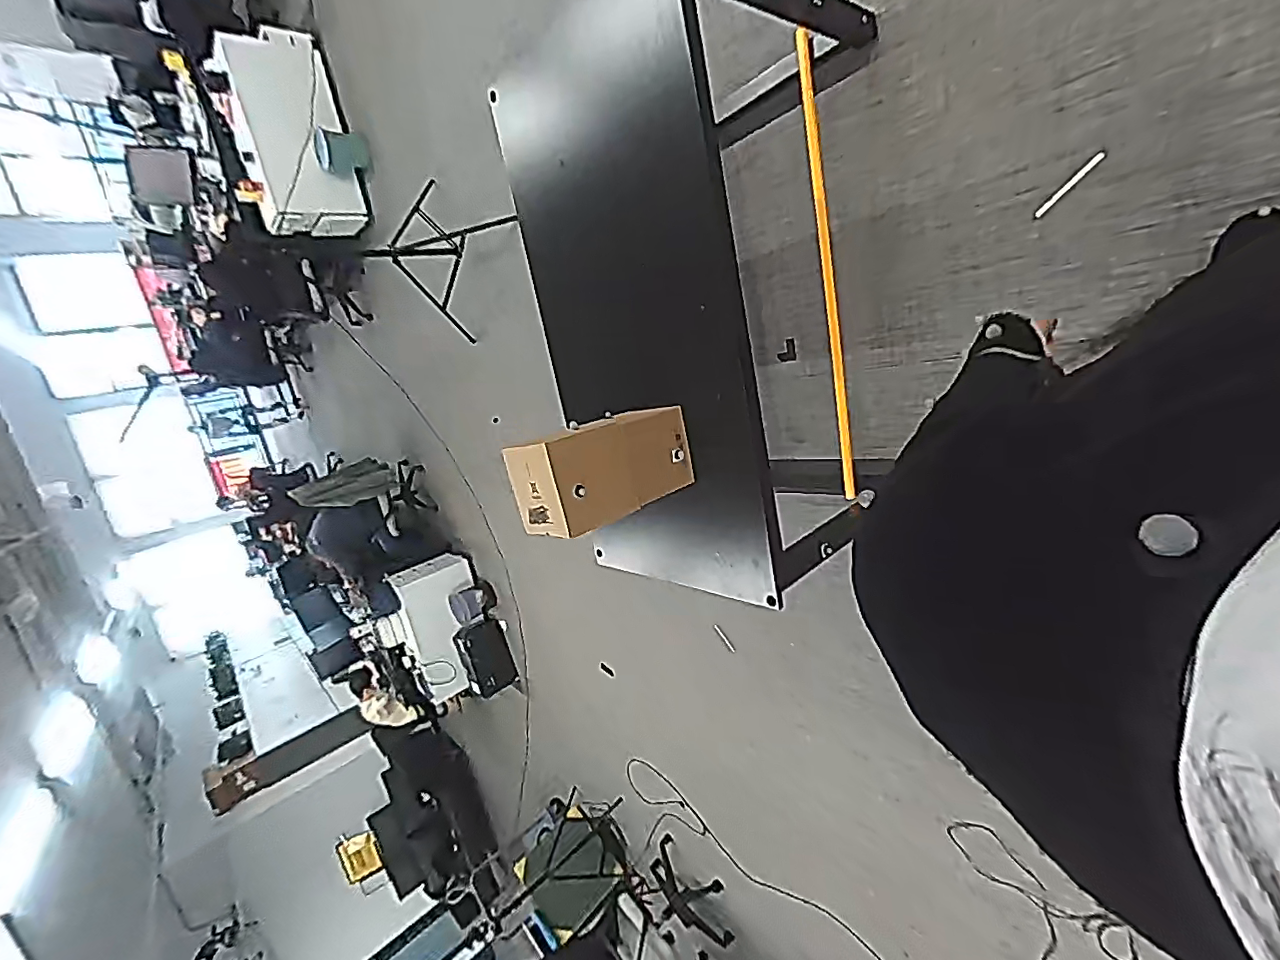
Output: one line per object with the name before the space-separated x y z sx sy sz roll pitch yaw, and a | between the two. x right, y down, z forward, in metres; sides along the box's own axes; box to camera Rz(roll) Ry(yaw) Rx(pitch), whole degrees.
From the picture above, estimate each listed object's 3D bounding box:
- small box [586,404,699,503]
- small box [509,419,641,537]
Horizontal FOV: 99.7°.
small box | -0.003 -0.058 1.139 0.179 0.176 0.168 1 109 50
small box | -0.120 -0.007 1.035 0.168 0.176 0.179 -1 106 51
